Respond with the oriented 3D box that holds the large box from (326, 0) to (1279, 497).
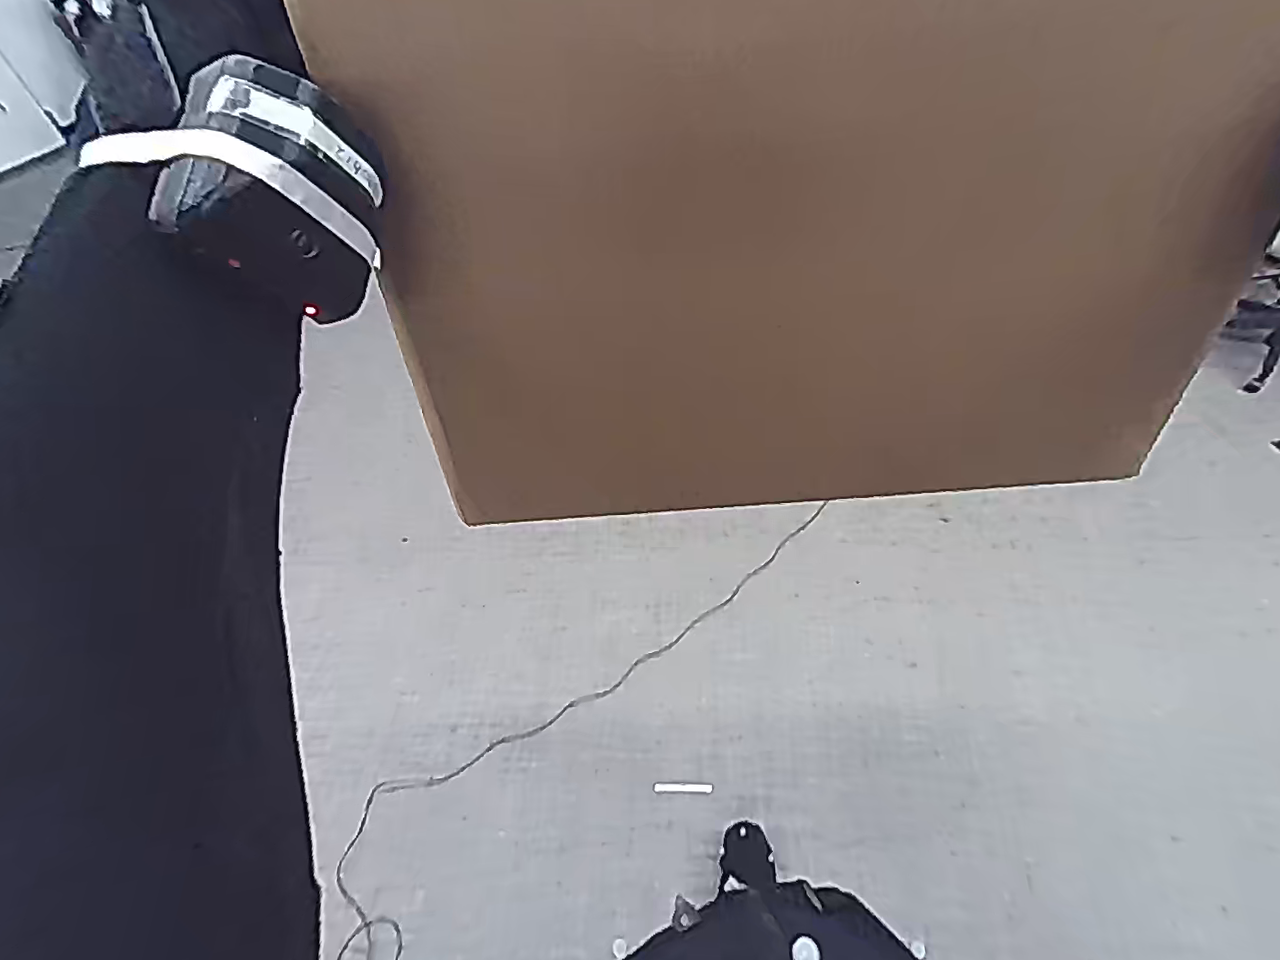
[{"bbox_3d":[0.076,-0.209,0.362,0.408,0.320,0.320,-4,36,-1],"label":"large box"}]
